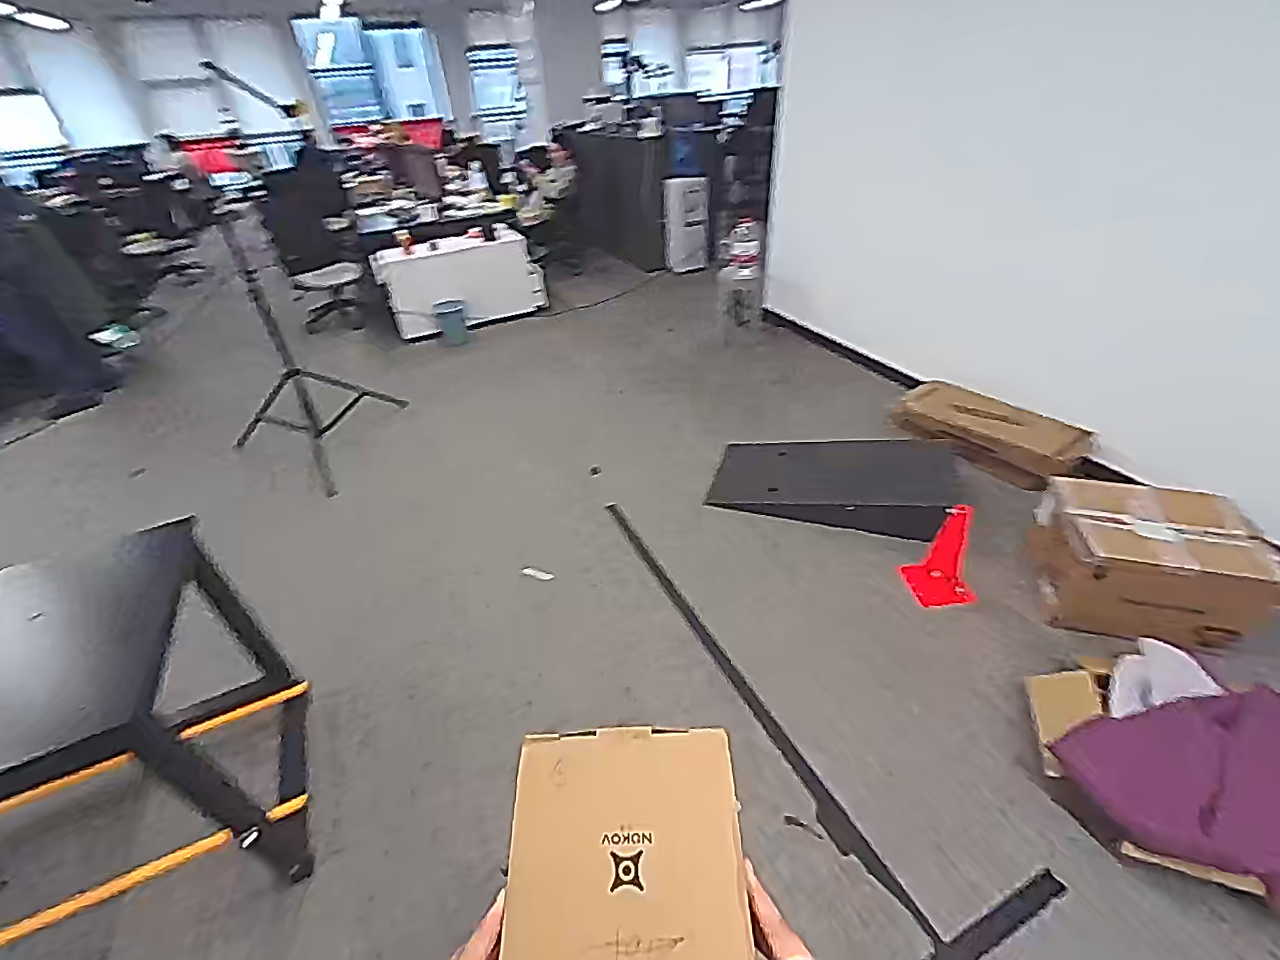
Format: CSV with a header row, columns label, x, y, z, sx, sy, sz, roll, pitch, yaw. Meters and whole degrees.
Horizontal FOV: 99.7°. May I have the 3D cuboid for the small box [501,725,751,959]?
label,x,y,z,sx,sy,sz,roll,pitch,yaw
small box,-0.012,0.322,0.445,0.168,0.176,0.179,-4,51,-2
